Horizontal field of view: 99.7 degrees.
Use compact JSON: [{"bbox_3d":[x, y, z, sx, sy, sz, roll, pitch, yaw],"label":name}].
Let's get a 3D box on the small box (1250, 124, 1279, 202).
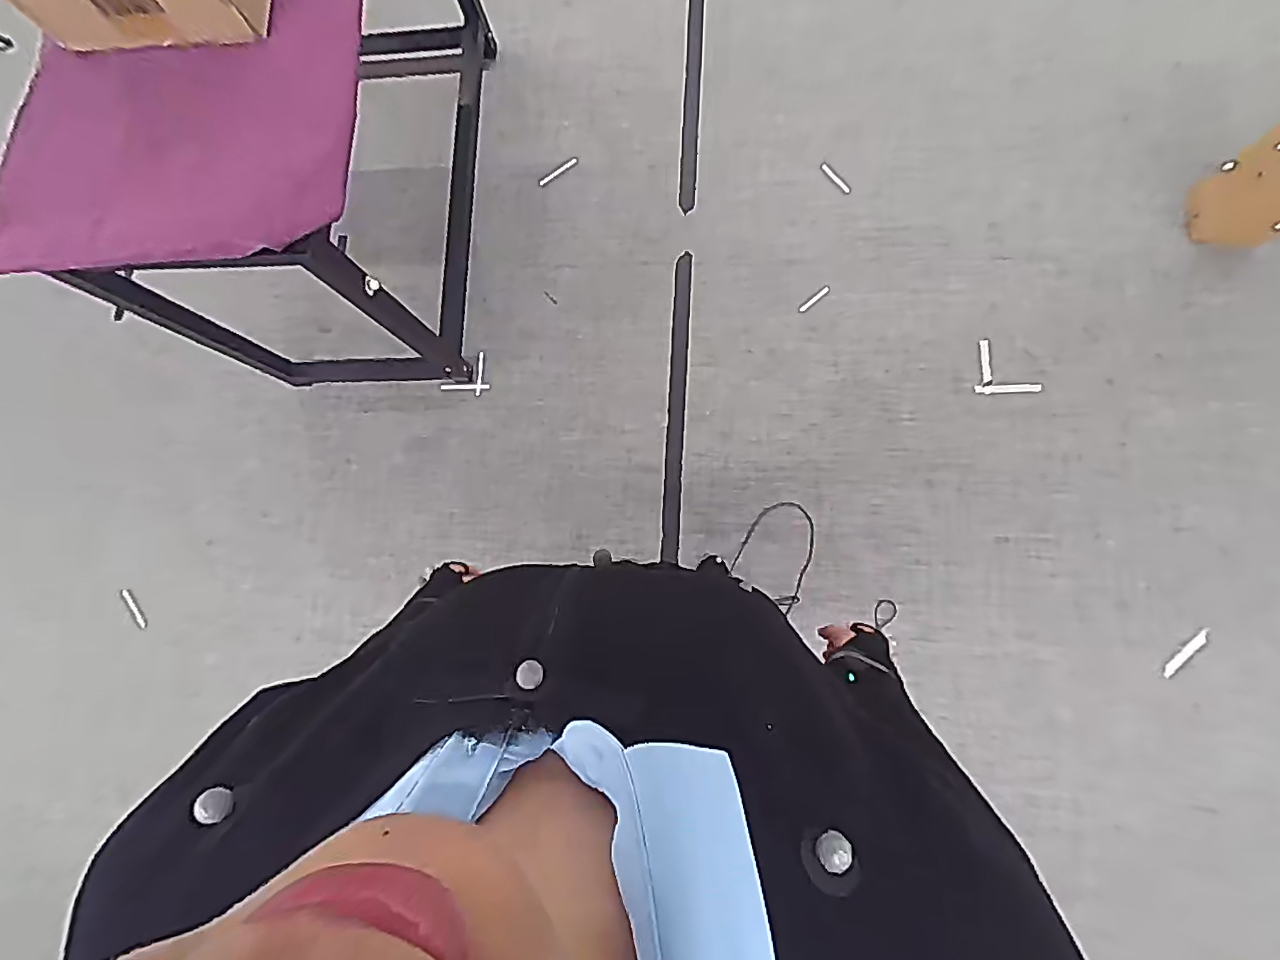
[{"bbox_3d":[1.618,-0.779,1.280,0.179,0.176,0.168,8,82,5],"label":"small box"}]
